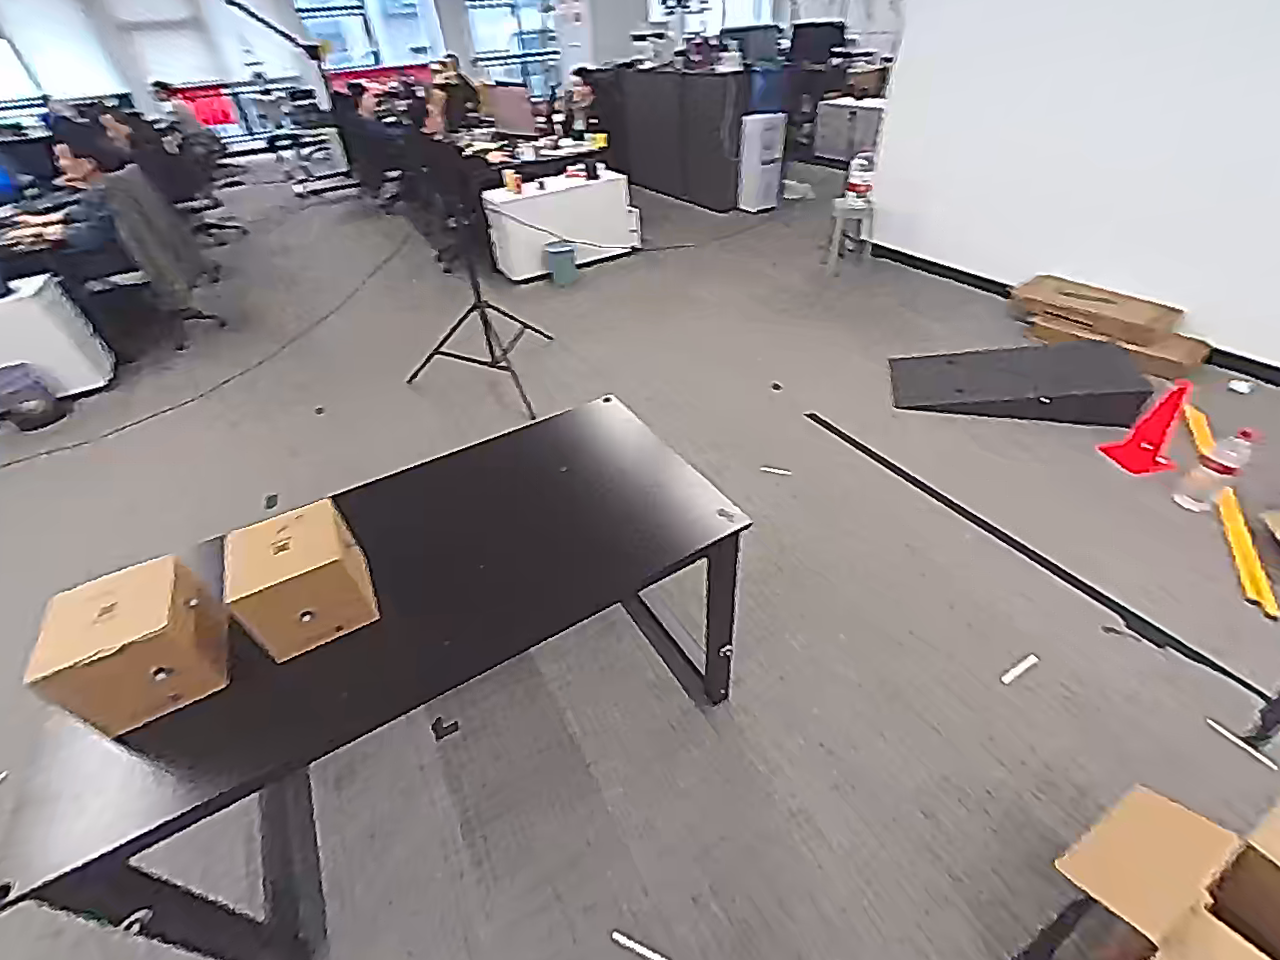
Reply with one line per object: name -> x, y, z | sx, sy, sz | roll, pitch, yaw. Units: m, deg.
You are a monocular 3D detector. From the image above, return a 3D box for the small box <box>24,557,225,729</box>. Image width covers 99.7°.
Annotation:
small box -> -0.793, 0.263, 0.858 | 0.168, 0.176, 0.179 | -23, 42, -22

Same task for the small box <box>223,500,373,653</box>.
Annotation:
small box -> -0.586, 0.172, 0.940 | 0.168, 0.176, 0.179 | -23, 43, -21
